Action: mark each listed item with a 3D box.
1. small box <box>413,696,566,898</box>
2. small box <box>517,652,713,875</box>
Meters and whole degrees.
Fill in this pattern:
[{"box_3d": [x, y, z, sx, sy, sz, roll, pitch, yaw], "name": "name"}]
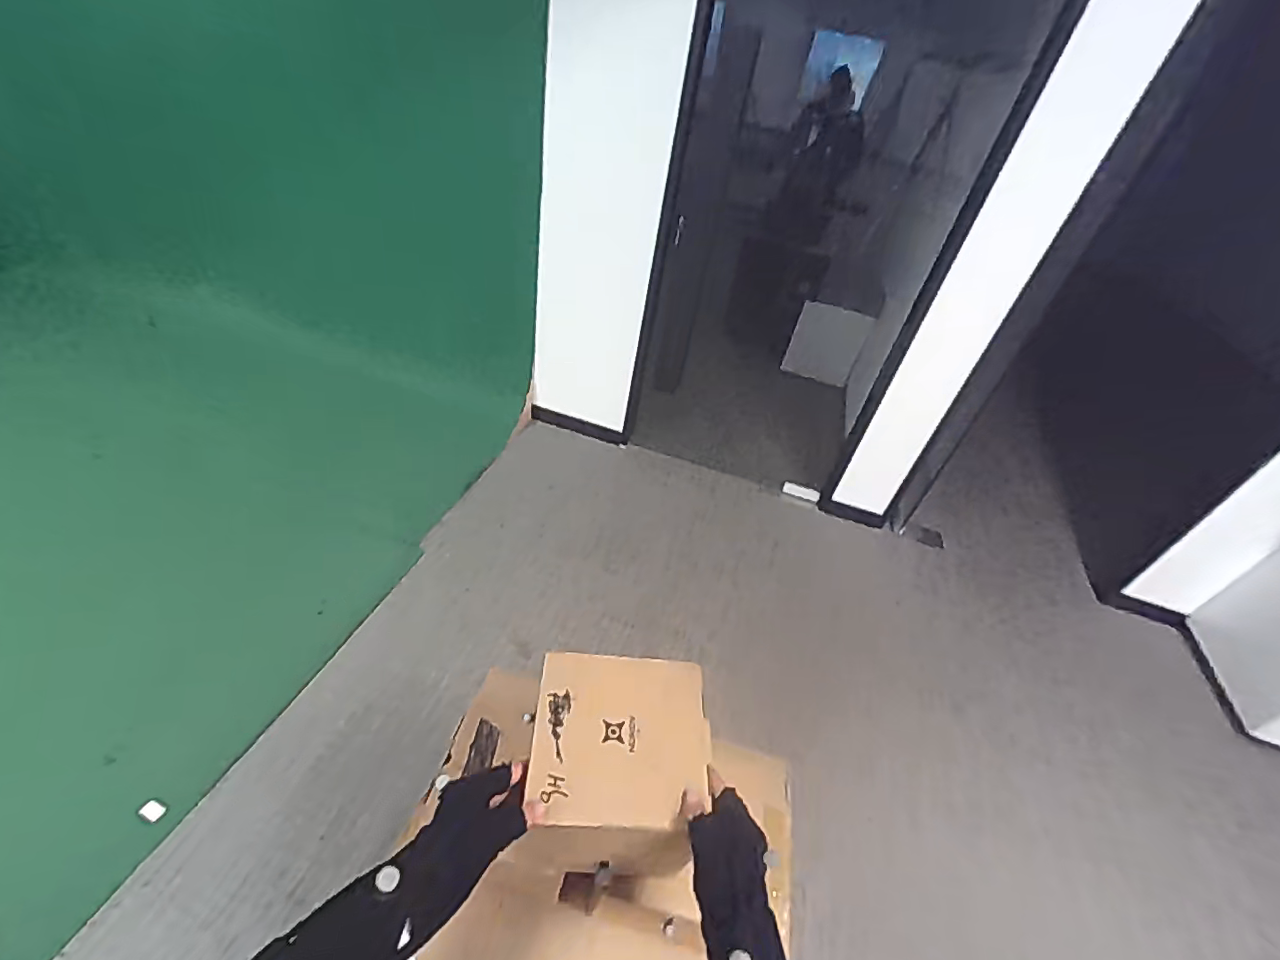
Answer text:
[{"box_3d": [-0.164, 0.413, 0.701, 0.179, 0.176, 0.168, 15, 44, 2], "name": "small box"}, {"box_3d": [-0.032, 0.312, 0.591, 0.179, 0.176, 0.168, 8, 42, -6], "name": "small box"}]
